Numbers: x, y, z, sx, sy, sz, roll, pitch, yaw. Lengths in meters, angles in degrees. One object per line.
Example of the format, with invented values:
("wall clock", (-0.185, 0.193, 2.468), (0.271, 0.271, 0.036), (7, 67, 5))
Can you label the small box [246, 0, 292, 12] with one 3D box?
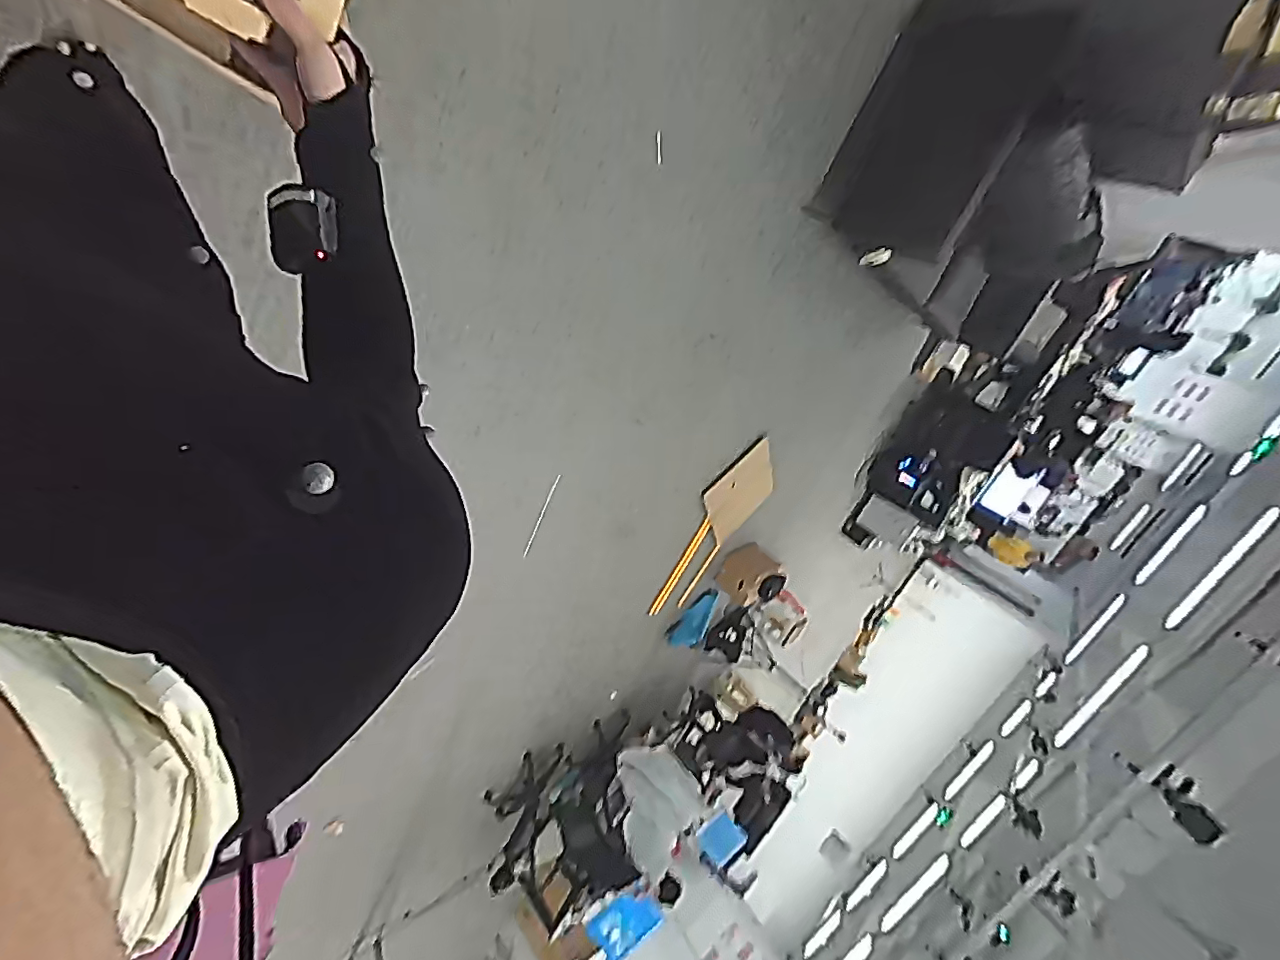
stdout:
("small box", (-0.485, -0.696, 0.623), (0.168, 0.176, 0.179), (15, 109, -55))
